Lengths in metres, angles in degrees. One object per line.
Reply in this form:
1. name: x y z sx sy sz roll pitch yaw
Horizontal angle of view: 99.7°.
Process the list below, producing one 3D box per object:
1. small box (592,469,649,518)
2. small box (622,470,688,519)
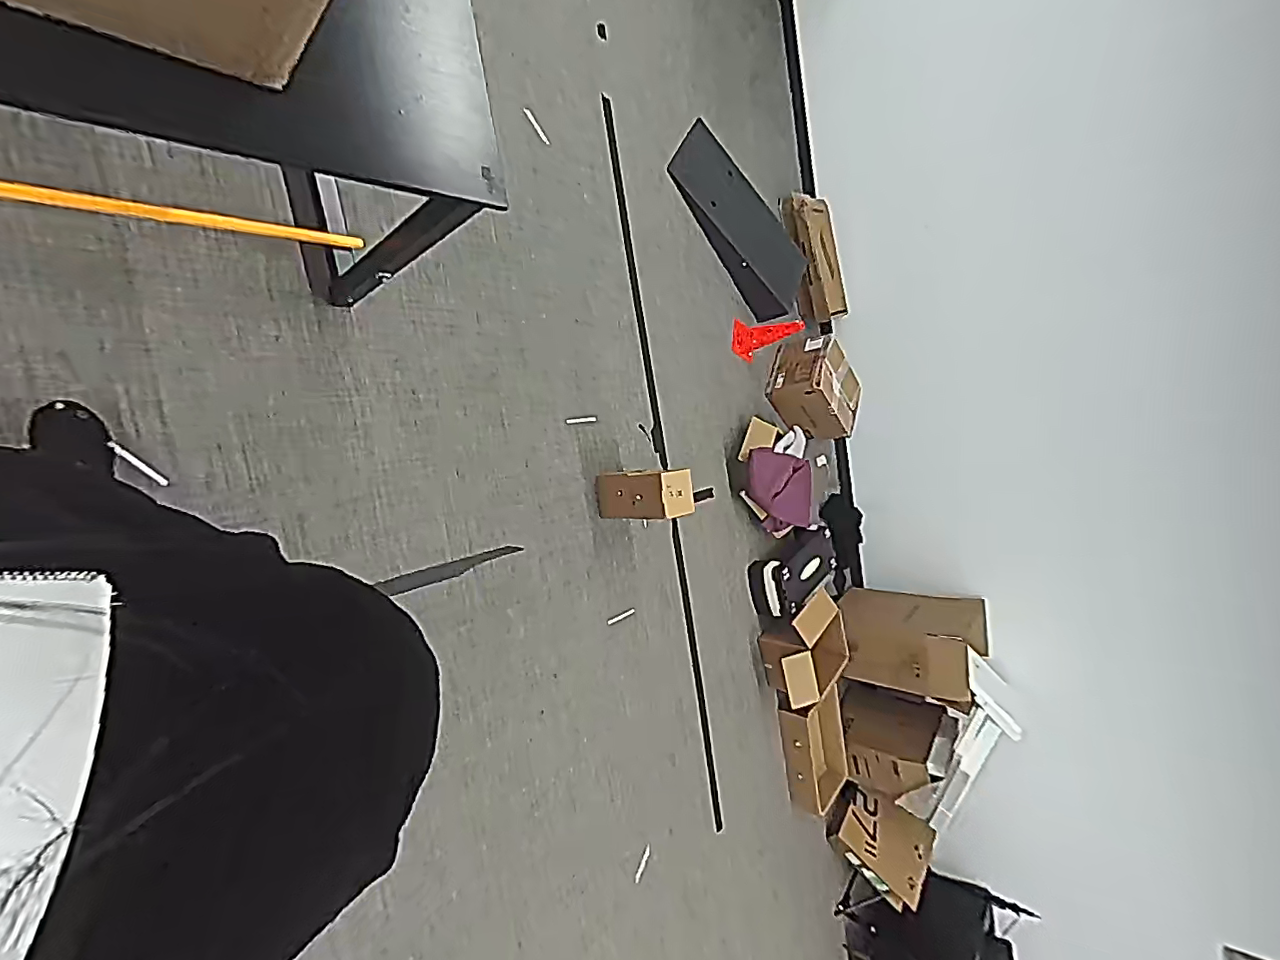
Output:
1. small box: -0.072 0.053 2.118 0.168 0.176 0.179 -9 94 -48
2. small box: 0.055 0.052 2.012 0.179 0.176 0.168 -9 94 -48
